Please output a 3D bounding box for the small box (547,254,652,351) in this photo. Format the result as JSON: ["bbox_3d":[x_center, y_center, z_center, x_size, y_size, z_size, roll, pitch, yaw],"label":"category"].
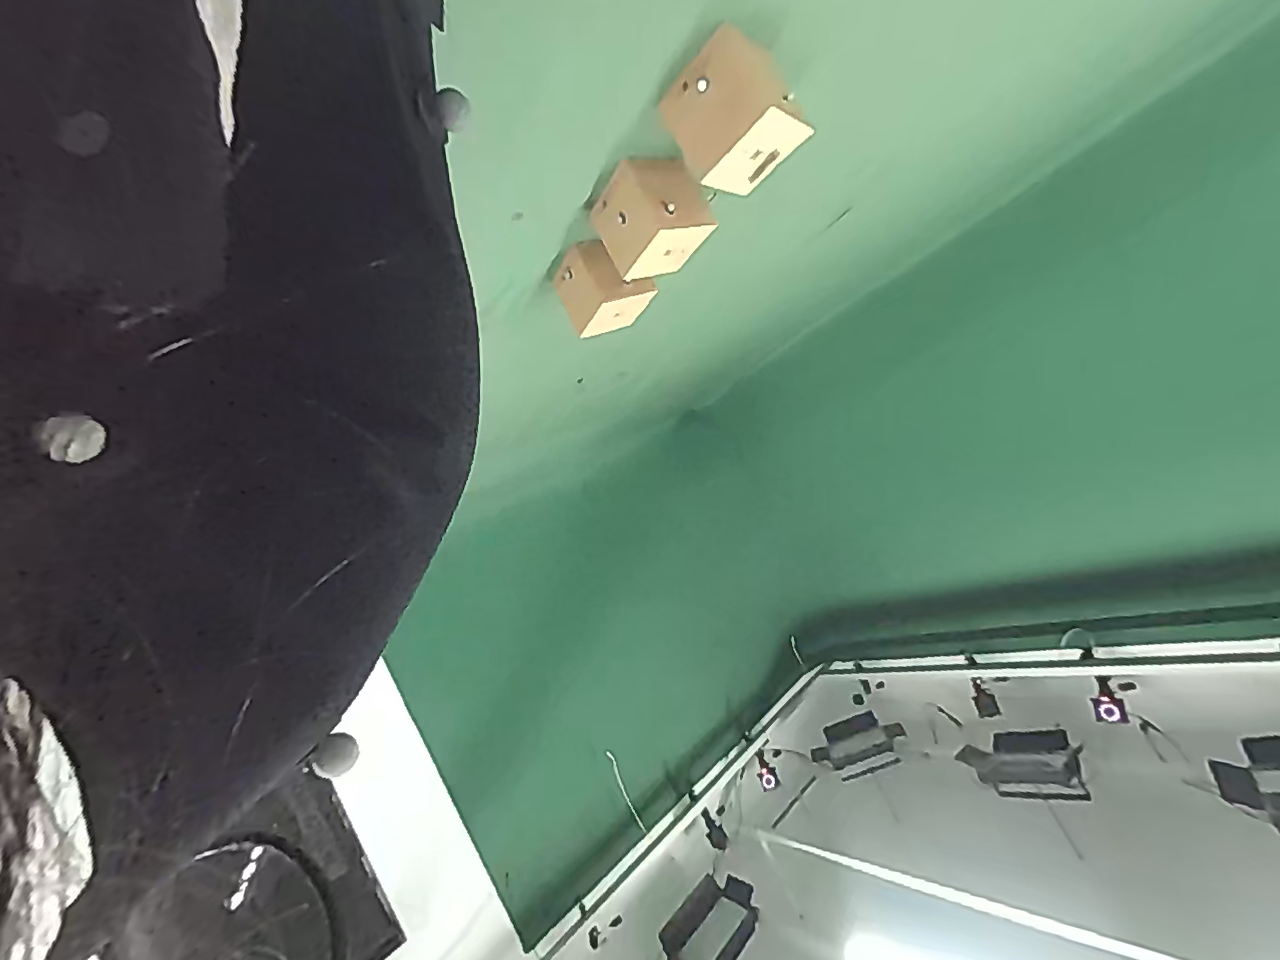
[{"bbox_3d":[-0.108,-0.463,1.381,0.179,0.176,0.168,-28,175,-32],"label":"small box"}]

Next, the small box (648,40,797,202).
[{"bbox_3d":[0.149,-0.644,0.985,0.168,0.176,0.179,-35,173,41],"label":"small box"}]

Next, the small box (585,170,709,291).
[{"bbox_3d":[0.008,-0.545,1.178,0.179,0.176,0.168,-28,176,-36],"label":"small box"}]
